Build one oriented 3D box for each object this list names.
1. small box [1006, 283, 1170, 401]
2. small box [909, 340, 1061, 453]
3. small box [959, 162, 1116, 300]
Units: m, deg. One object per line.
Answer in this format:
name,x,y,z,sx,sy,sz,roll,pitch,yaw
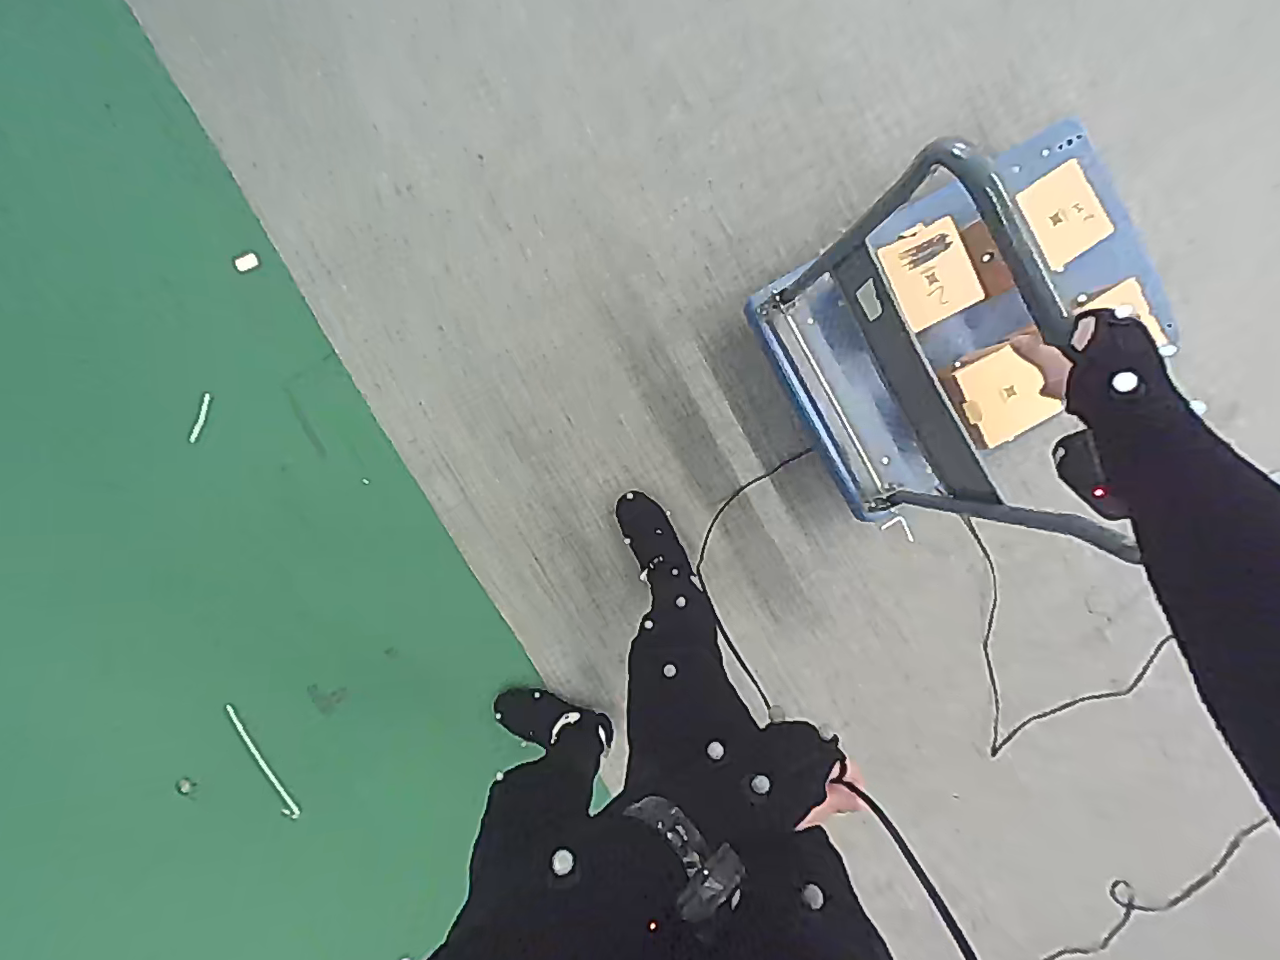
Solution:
small box,0.926,-0.278,1.134,0.179,0.176,0.168,-30,93,-2
small box,0.705,-0.165,1.122,0.179,0.176,0.168,-27,93,-3
small box,0.803,-0.501,1.118,0.179,0.176,0.168,-33,94,-3
